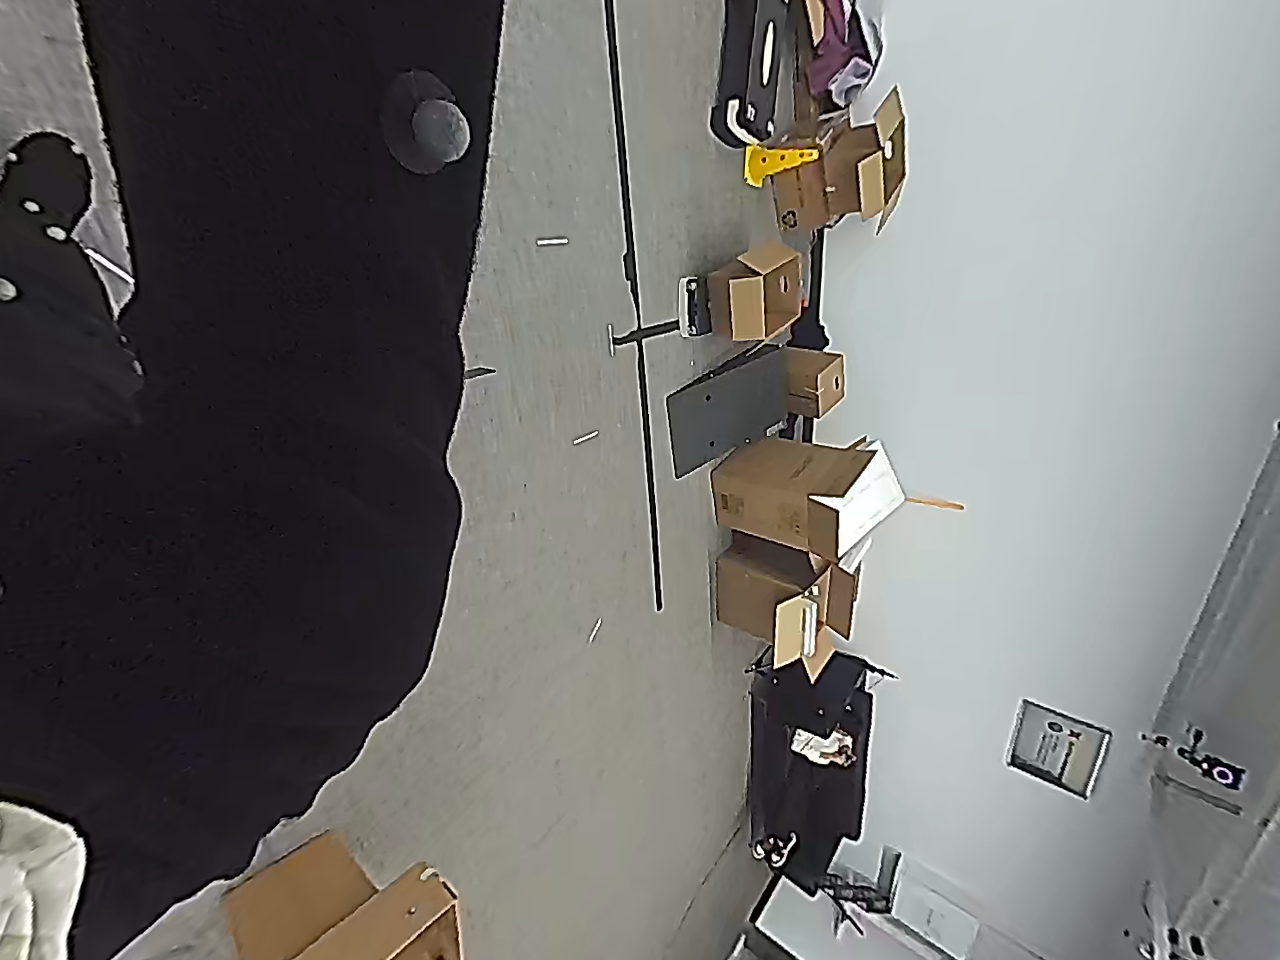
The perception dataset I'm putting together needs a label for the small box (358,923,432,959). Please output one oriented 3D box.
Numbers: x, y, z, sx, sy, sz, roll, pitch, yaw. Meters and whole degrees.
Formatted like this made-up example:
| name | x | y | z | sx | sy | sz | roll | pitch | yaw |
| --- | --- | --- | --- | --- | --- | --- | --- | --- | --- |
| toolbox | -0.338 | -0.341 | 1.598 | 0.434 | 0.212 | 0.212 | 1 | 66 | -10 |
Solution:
| name | x | y | z | sx | sy | sz | roll | pitch | yaw |
| --- | --- | --- | --- | --- | --- | --- | --- | --- | --- |
| small box | -0.707 | 1.434 | 1.539 | 0.179 | 0.176 | 0.168 | -22 | 119 | -46 |
